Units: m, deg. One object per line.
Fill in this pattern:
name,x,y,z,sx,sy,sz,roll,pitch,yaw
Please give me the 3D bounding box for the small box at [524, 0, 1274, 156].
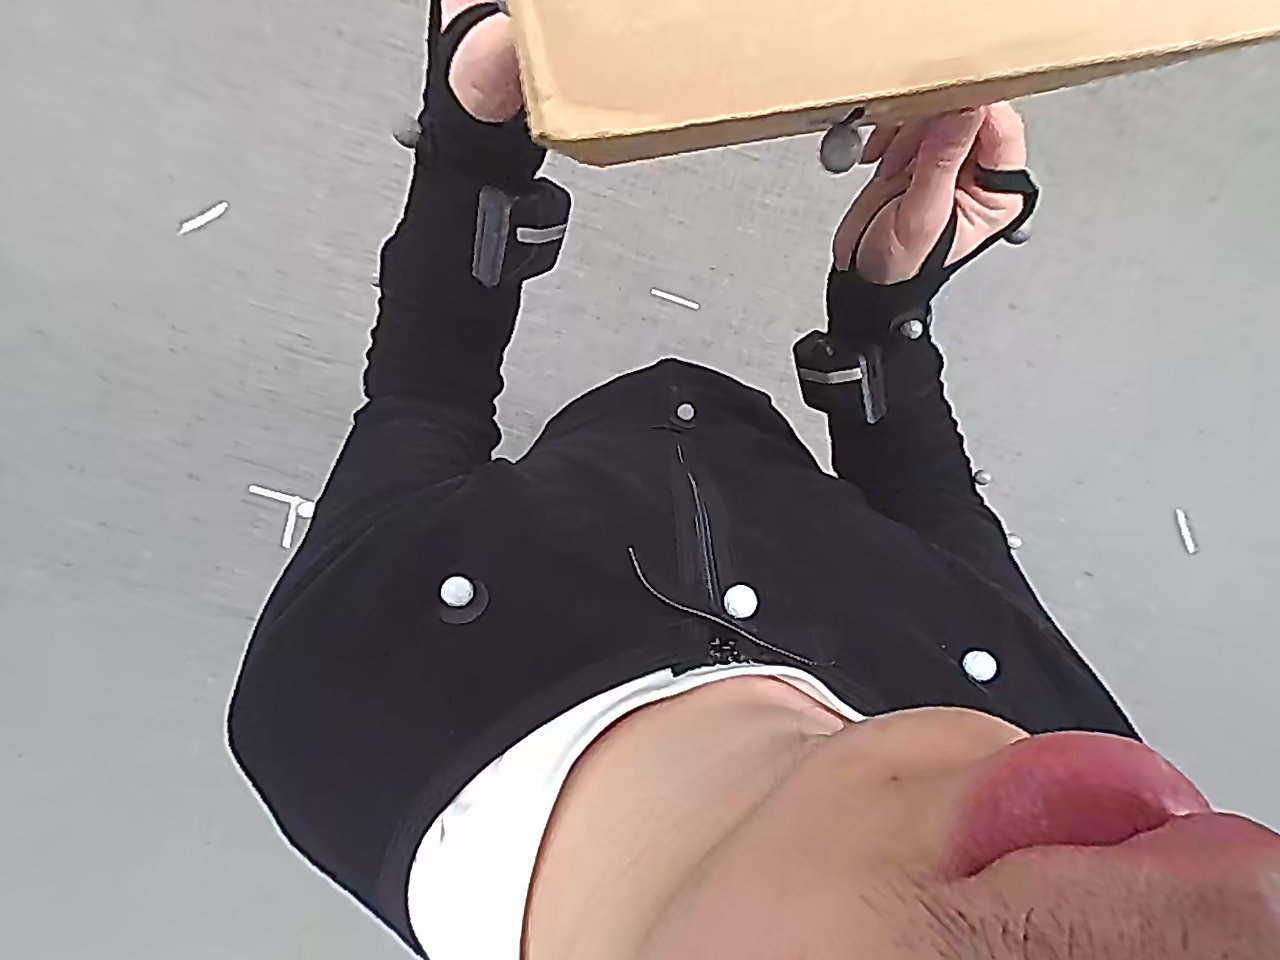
small box,0.053,-0.206,0.162,0.179,0.176,0.168,-7,119,4
